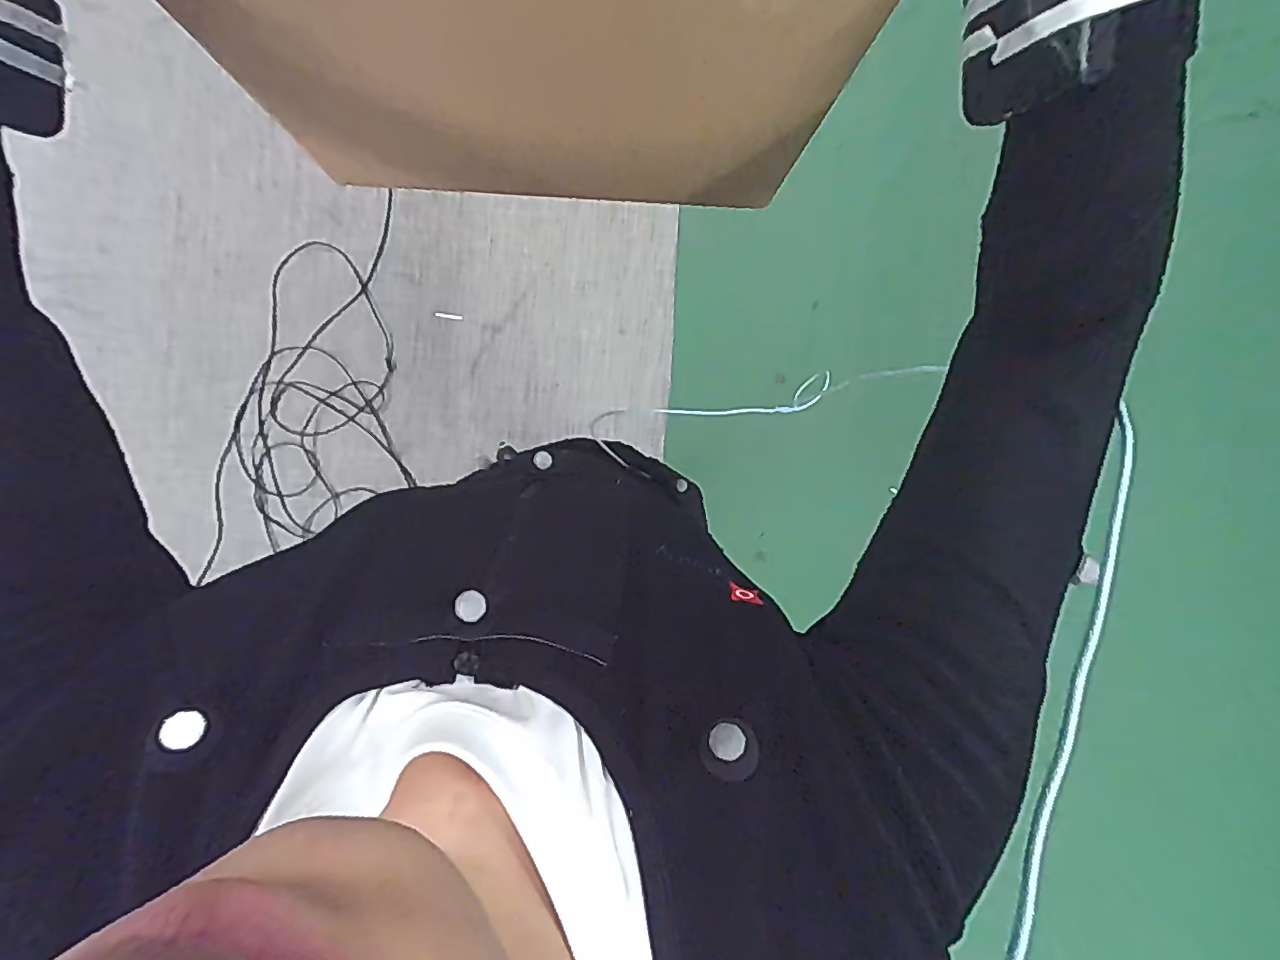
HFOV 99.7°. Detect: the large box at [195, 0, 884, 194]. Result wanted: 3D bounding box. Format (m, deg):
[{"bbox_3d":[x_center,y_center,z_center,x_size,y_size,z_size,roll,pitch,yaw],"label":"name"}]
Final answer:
[{"bbox_3d":[-0.062,-0.422,0.356,0.408,0.320,0.320,1,93,-5],"label":"large box"}]
